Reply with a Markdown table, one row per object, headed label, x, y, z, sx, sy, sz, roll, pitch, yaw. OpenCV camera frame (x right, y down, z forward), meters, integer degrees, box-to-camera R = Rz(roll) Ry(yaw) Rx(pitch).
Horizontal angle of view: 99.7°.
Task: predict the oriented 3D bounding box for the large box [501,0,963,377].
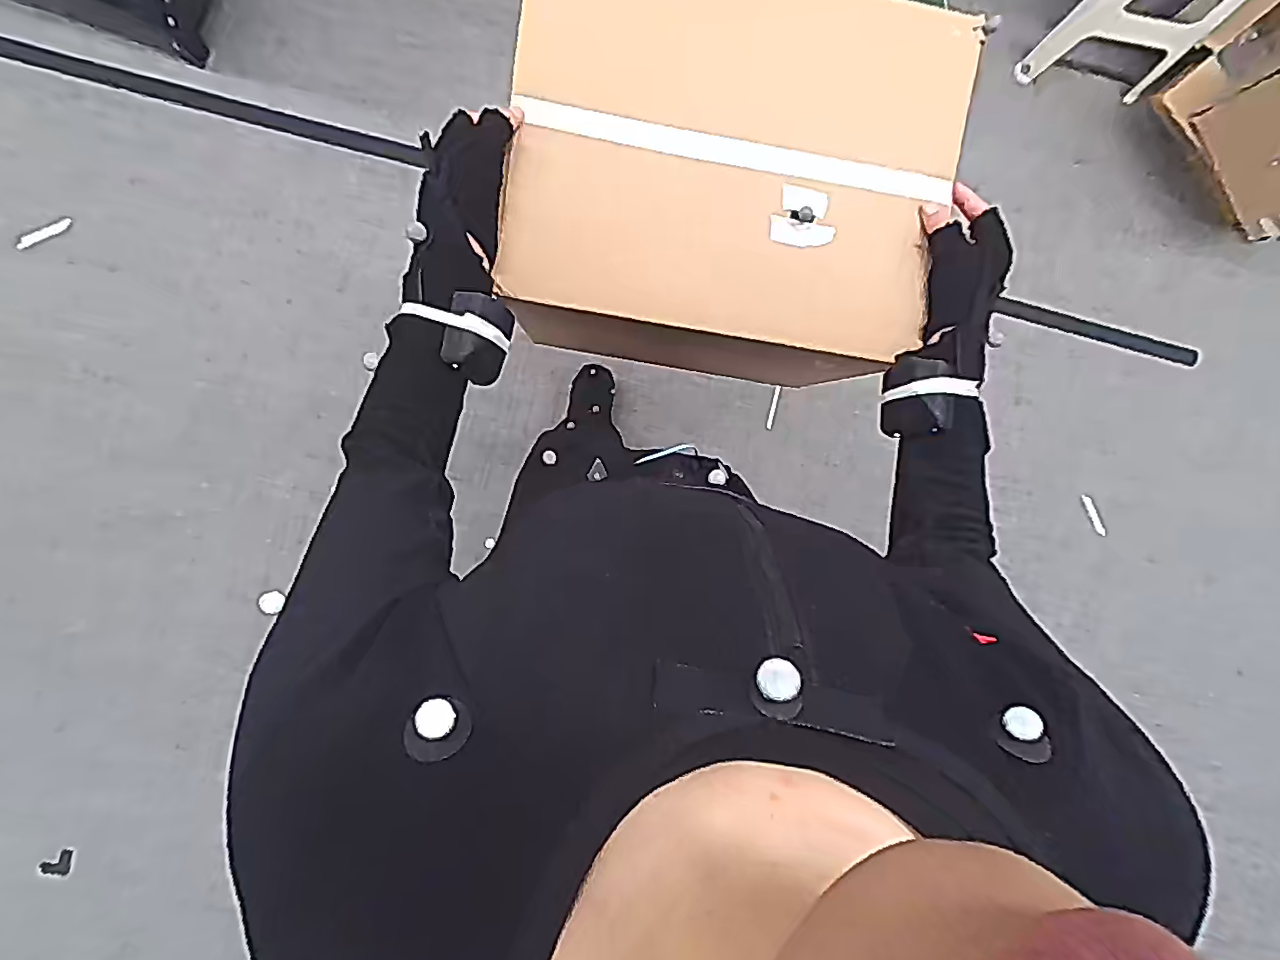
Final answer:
| label | x | y | z | sx | sy | sz | roll | pitch | yaw |
| --- | --- | --- | --- | --- | --- | --- | --- | --- | --- |
| large box | 0.073 | -0.317 | 0.648 | 0.408 | 0.320 | 0.320 | 9 | 96 | -6 |
